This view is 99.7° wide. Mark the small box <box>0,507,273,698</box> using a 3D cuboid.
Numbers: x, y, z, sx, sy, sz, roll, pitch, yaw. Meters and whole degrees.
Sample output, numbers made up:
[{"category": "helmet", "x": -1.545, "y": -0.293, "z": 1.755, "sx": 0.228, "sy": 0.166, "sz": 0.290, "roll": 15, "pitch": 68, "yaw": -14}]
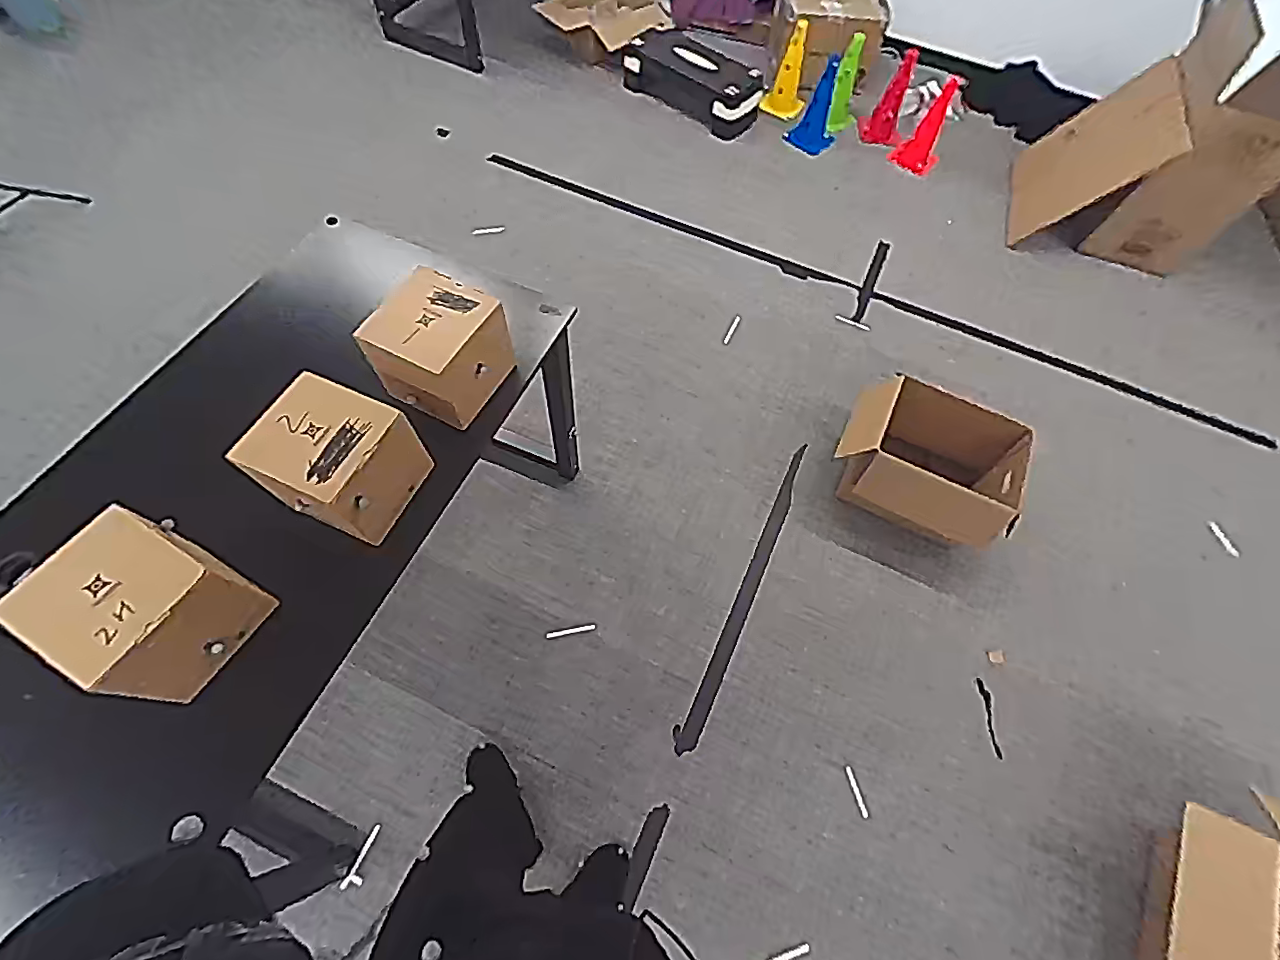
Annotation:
[{"category": "small box", "x": -0.650, "y": 0.171, "z": 0.717, "sx": 0.179, "sy": 0.176, "sz": 0.168, "roll": 29, "pitch": 65, "yaw": 10}]

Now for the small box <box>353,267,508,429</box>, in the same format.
[{"category": "small box", "x": -0.345, "y": -0.223, "z": 0.936, "sx": 0.168, "sy": 0.176, "sz": 0.179, "roll": 25, "pitch": 66, "yaw": 9}]
